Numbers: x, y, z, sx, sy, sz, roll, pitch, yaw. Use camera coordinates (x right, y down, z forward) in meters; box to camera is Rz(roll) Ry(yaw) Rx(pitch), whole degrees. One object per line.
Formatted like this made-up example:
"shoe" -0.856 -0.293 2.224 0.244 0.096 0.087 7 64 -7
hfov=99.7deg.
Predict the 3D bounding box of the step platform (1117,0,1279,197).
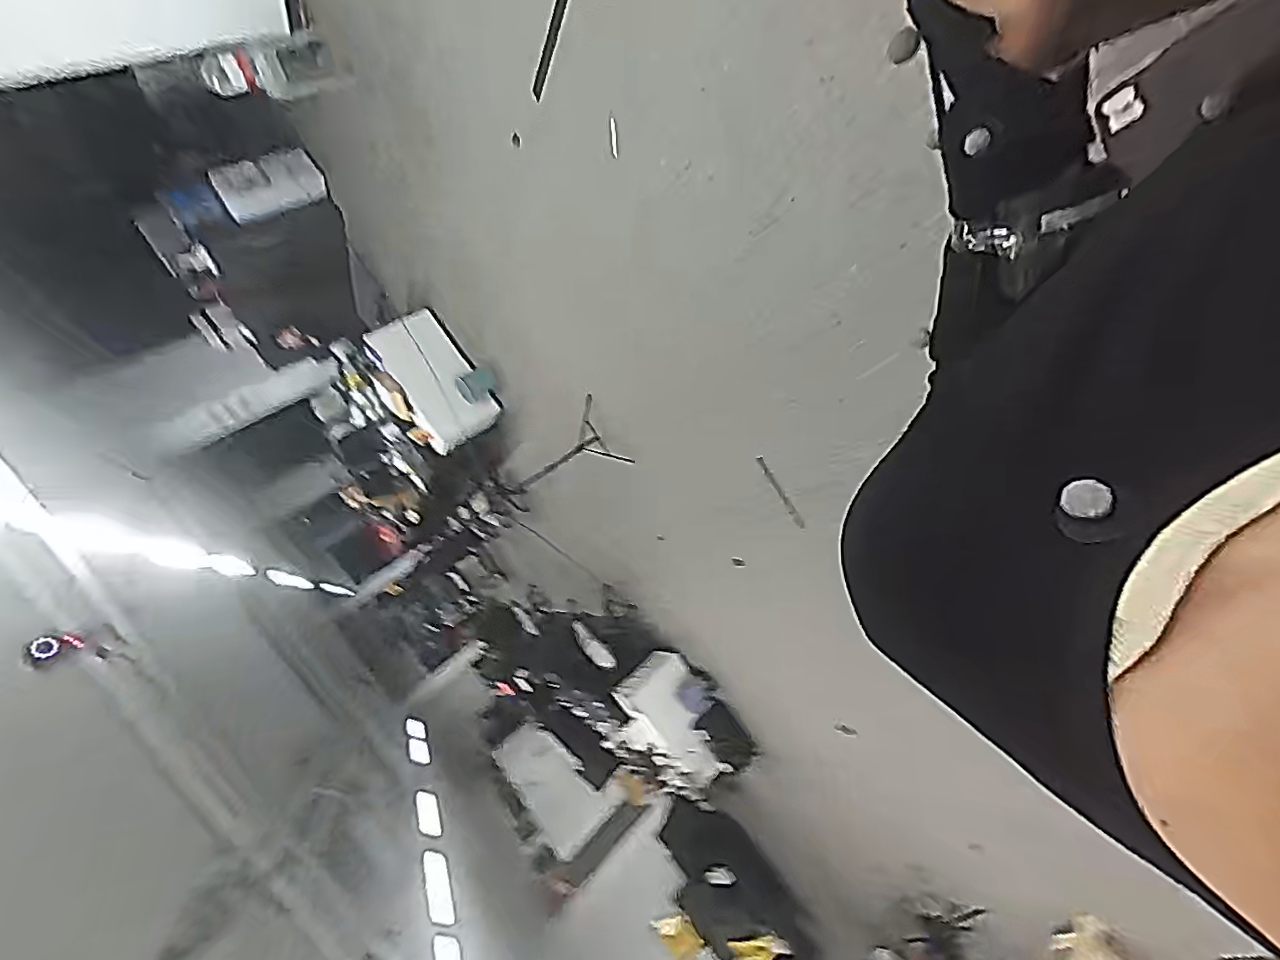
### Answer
"step platform" 1.070 -0.682 0.692 0.286 0.204 0.684 57 152 -10
